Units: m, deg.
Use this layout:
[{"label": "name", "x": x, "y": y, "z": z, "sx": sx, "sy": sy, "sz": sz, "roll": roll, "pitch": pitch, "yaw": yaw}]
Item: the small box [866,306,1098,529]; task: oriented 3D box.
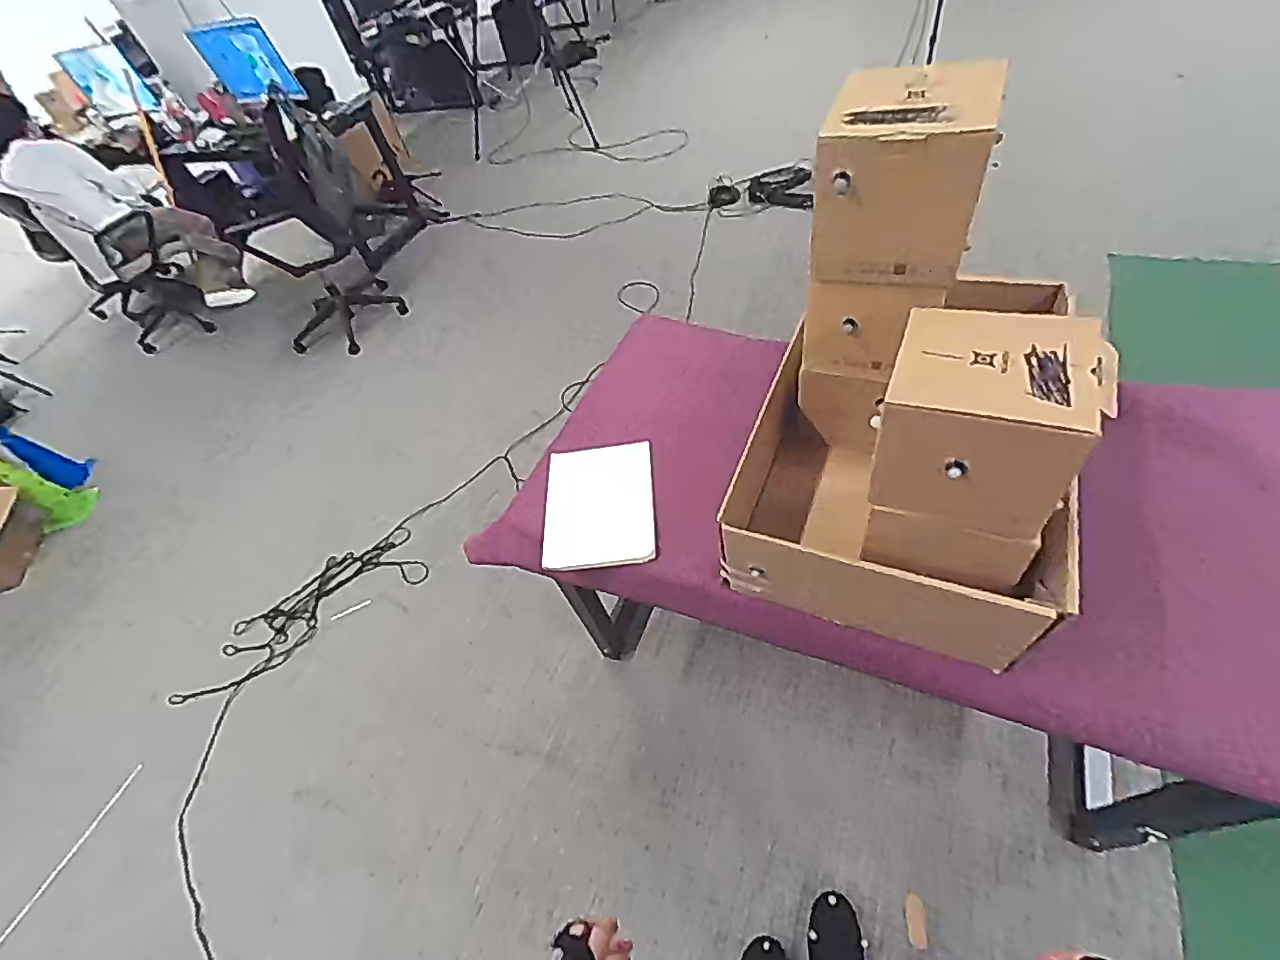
[{"label": "small box", "x": 0.363, "y": -0.067, "z": 0.596, "sx": 0.179, "sy": 0.176, "sz": 0.168, "roll": 13, "pitch": 55, "yaw": 26}]

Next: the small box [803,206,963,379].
[{"label": "small box", "x": 0.338, "y": -0.264, "z": 0.771, "sx": 0.168, "sy": 0.176, "sz": 0.179, "roll": 15, "pitch": 58, "yaw": 24}]
